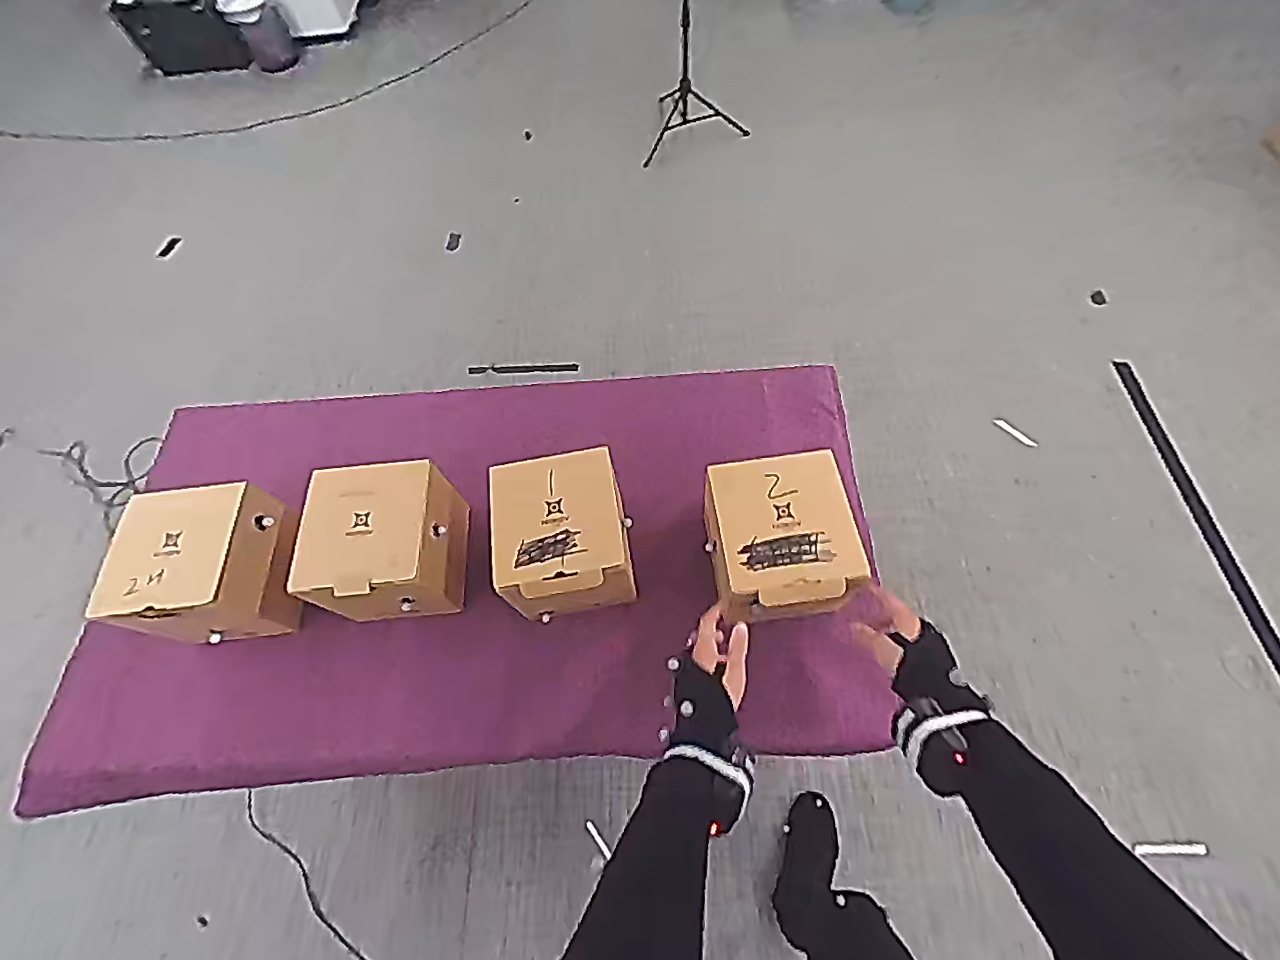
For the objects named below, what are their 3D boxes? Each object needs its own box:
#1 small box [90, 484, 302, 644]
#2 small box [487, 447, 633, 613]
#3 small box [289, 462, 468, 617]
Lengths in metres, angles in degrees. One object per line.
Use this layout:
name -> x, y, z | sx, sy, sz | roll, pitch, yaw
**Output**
small box -> -0.608, 0.127, 0.782 | 0.168, 0.176, 0.179 | -7, 63, 1
small box -> -0.107, 0.081, 0.766 | 0.168, 0.176, 0.179 | -11, 62, -1
small box -> -0.360, 0.095, 0.781 | 0.168, 0.176, 0.179 | -6, 62, 1
